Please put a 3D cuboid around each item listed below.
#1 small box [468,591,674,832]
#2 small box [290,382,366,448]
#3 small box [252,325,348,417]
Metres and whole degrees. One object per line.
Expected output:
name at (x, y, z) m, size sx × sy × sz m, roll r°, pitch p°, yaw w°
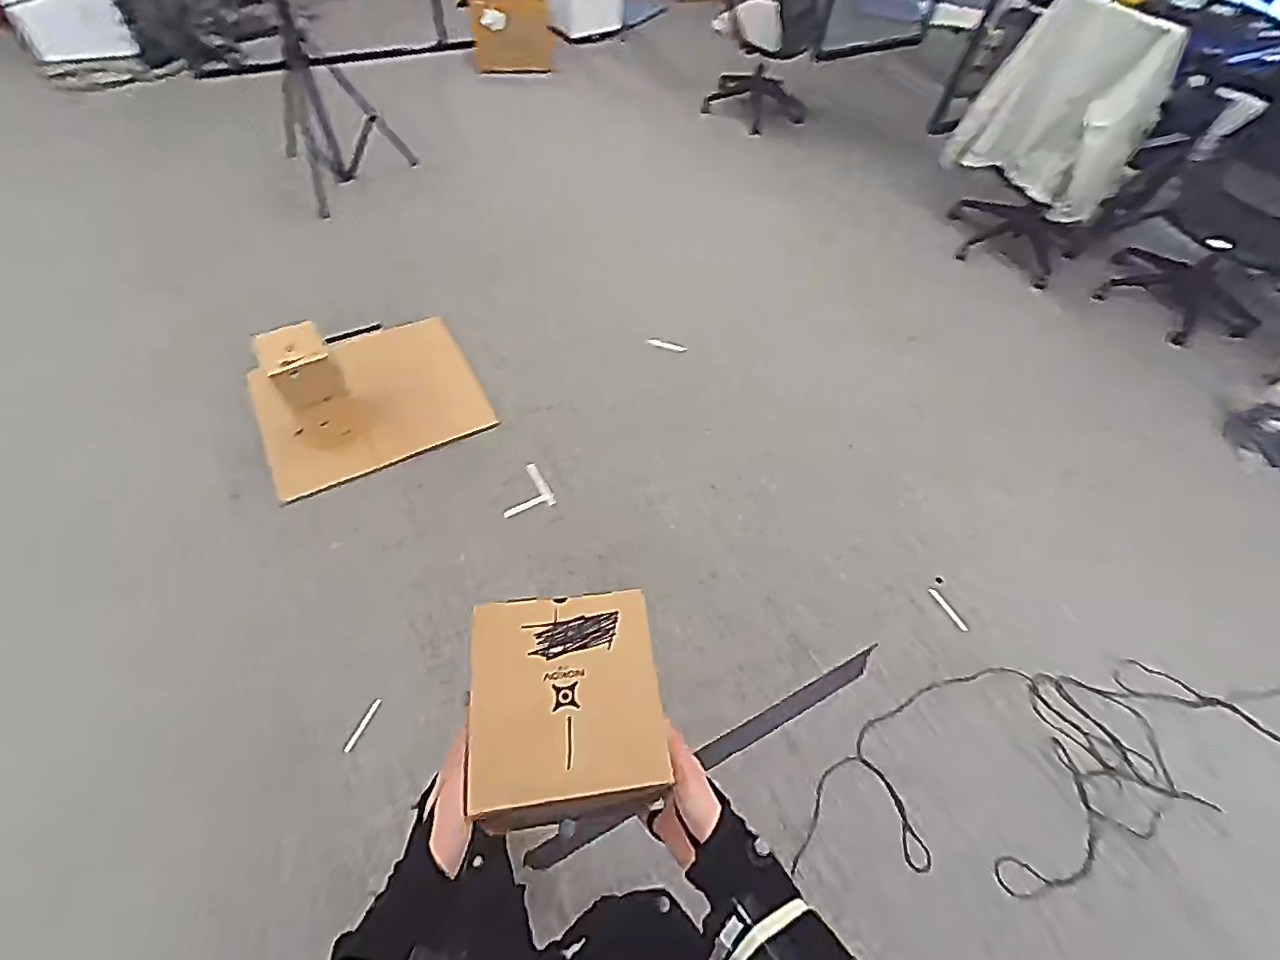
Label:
small box at (-0.072, 0.230, 0.537) m, size 0.168 × 0.176 × 0.179 m, roll -3°, pitch 54°, yaw -10°
small box at (-1.003, -0.224, 1.720) m, size 0.168 × 0.176 × 0.179 m, roll -26°, pitch 62°, yaw -21°
small box at (-0.992, -0.317, 1.585) m, size 0.168 × 0.176 × 0.179 m, roll -28°, pitch 62°, yaw -21°
